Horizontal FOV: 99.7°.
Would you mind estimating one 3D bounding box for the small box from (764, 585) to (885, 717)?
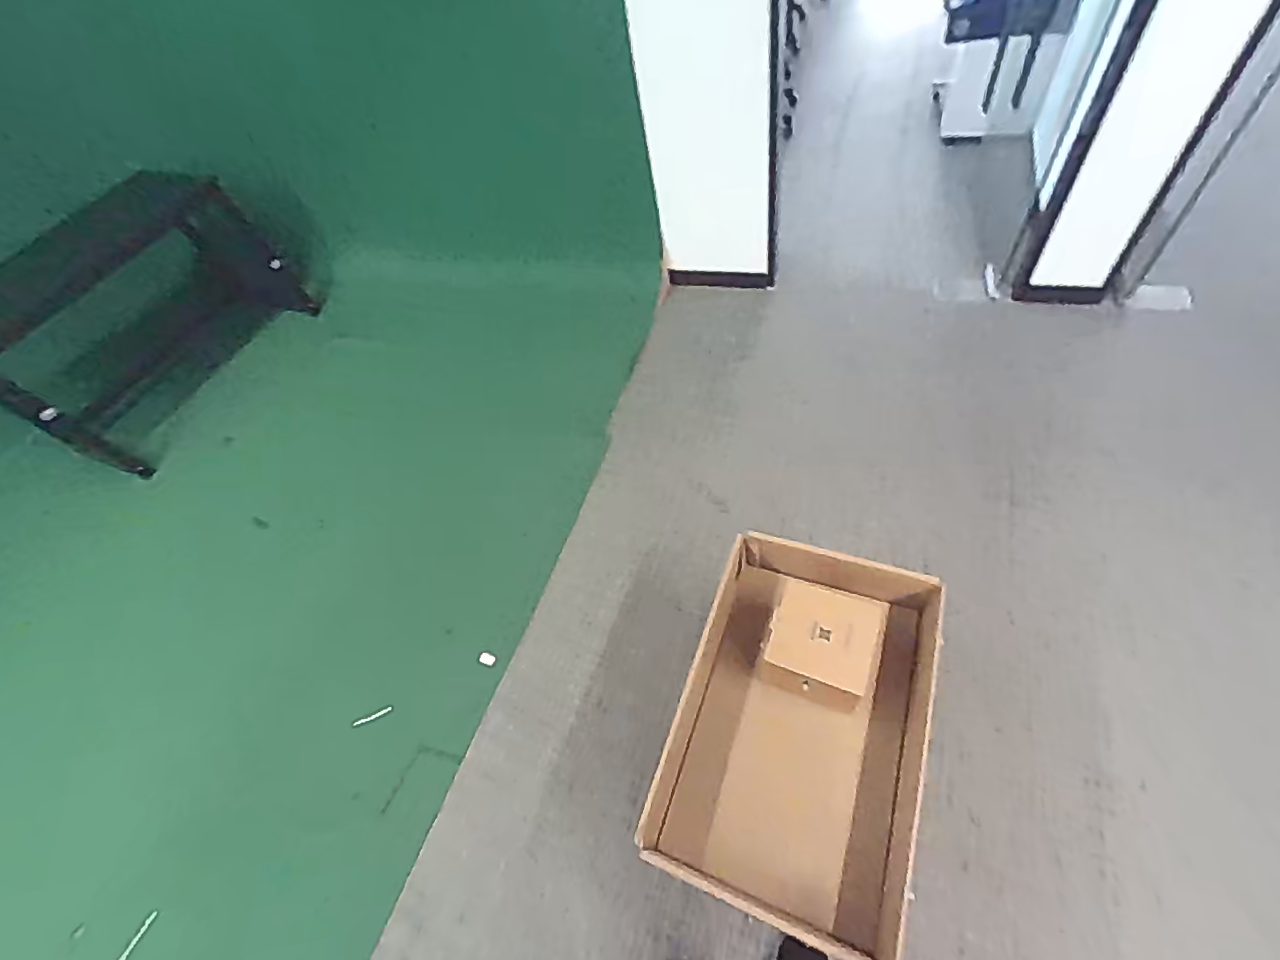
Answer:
[{"bbox_3d":[0.343,0.330,1.030,0.179,0.176,0.168,16,60,21],"label":"small box"}]
